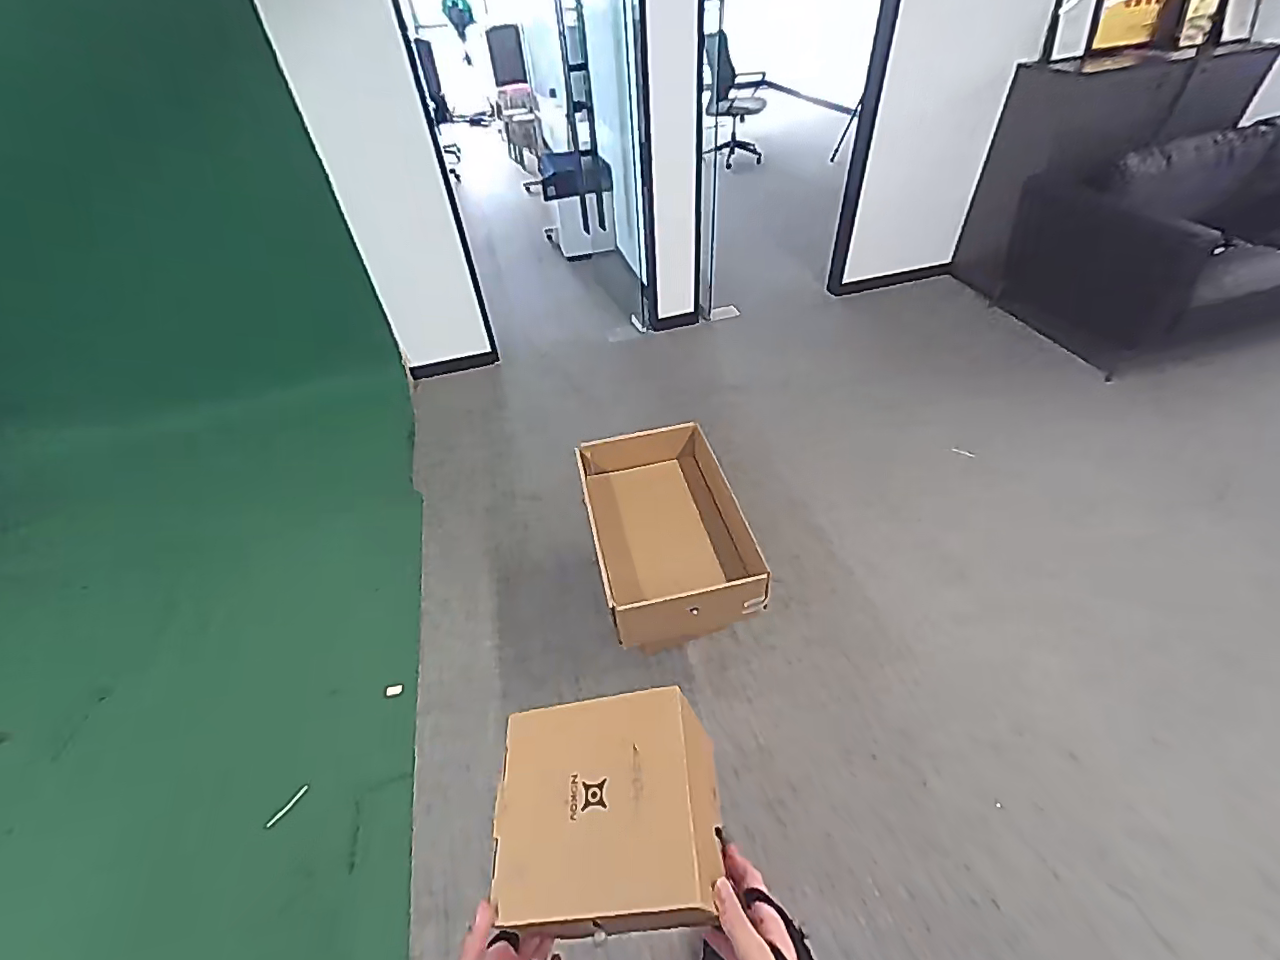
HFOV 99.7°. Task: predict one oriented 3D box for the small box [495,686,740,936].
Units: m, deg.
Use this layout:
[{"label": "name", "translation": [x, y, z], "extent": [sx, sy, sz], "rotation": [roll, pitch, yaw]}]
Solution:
[{"label": "small box", "translation": [-0.013, 0.322, 0.520], "extent": [0.179, 0.176, 0.168], "rotation": [-13, 46, 9]}]
